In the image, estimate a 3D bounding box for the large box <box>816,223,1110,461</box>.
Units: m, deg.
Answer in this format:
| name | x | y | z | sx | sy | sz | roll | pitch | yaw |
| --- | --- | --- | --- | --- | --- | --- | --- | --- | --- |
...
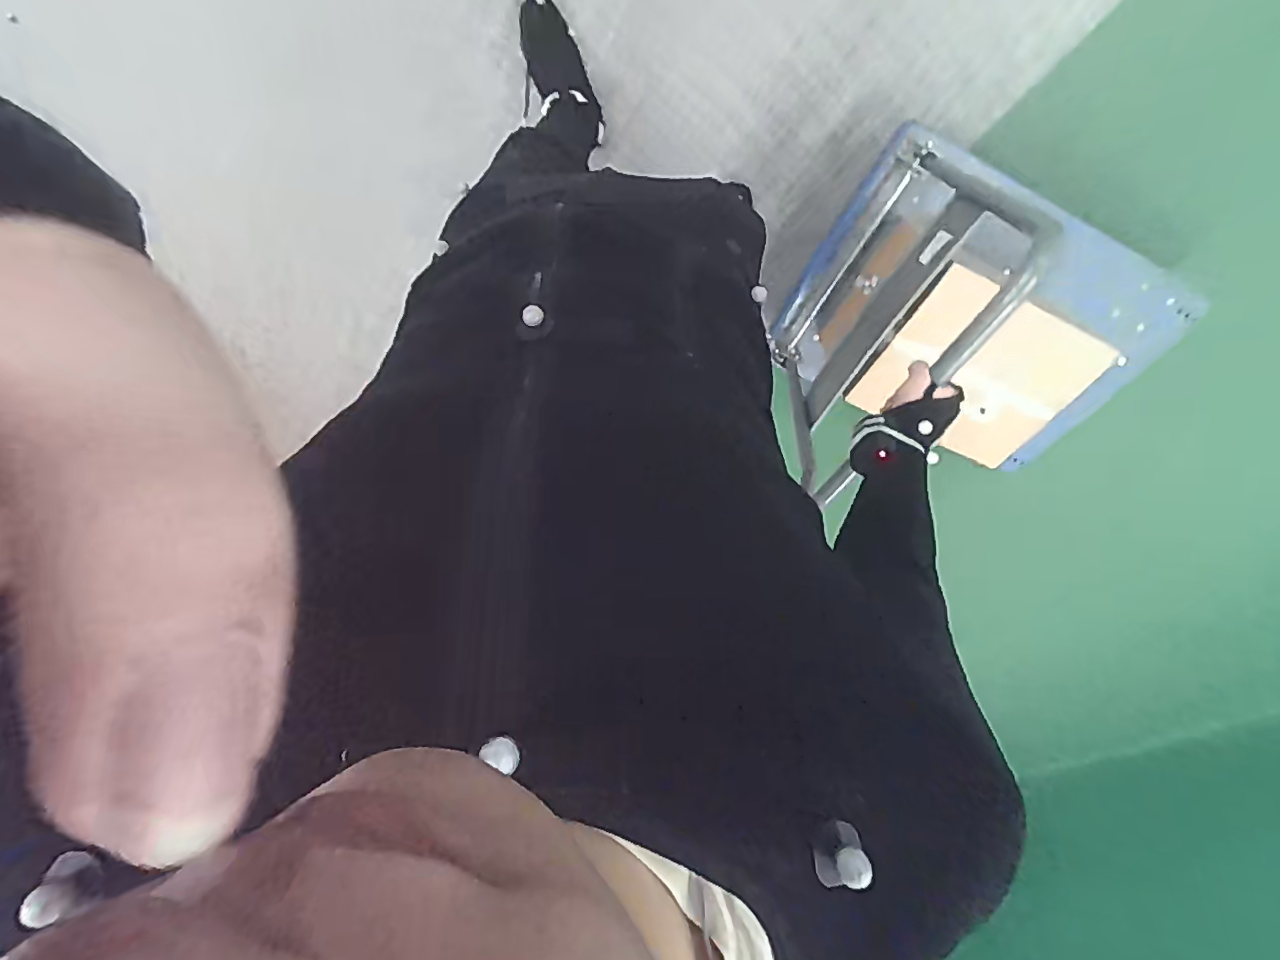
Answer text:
| name | x | y | z | sx | sy | sz | roll | pitch | yaw |
| --- | --- | --- | --- | --- | --- | --- | --- | --- | --- |
| large box | 0.669 | -0.307 | 1.199 | 0.408 | 0.320 | 0.320 | 21 | 129 | -12 |
